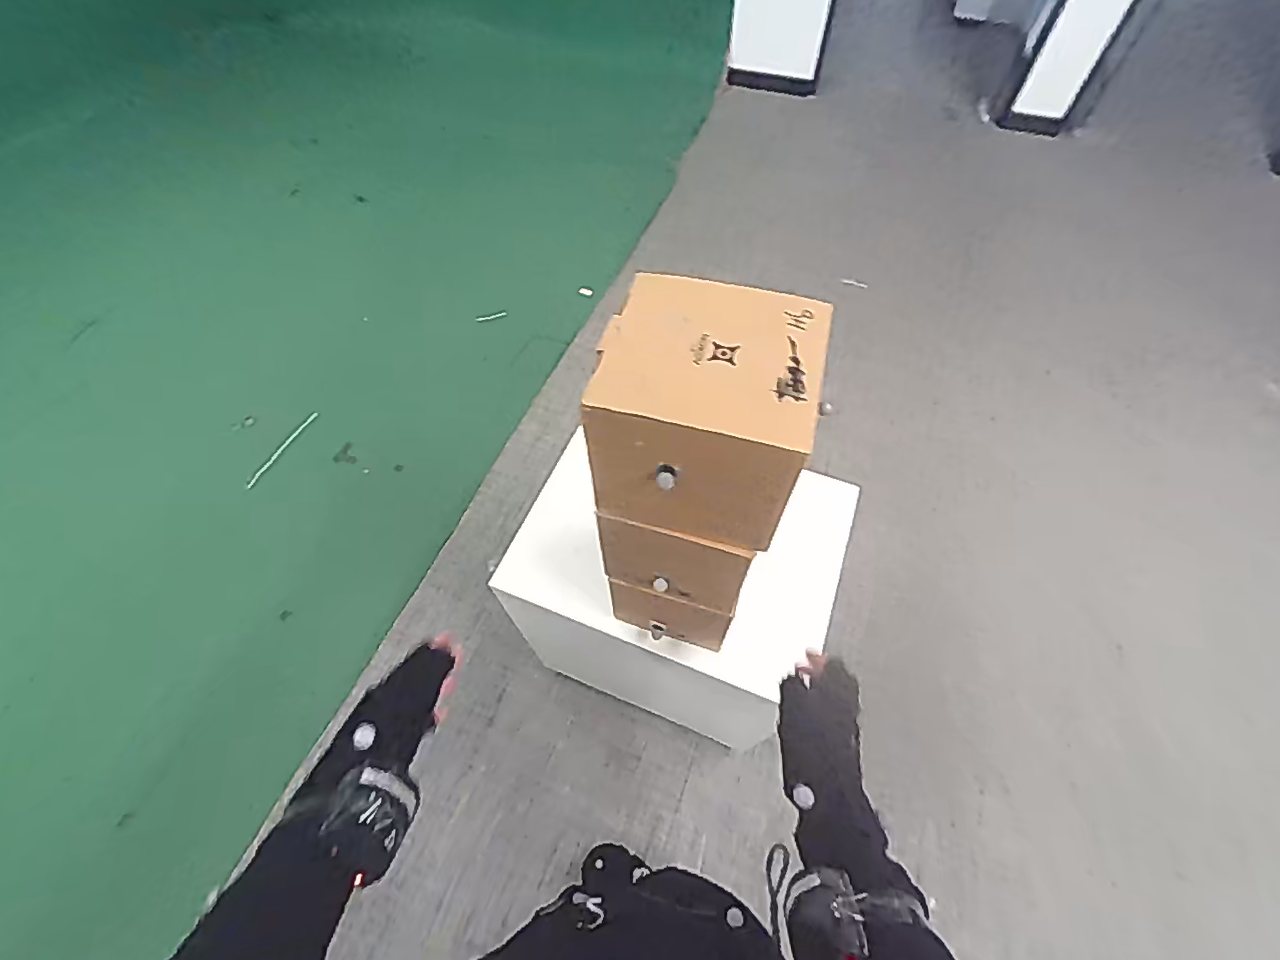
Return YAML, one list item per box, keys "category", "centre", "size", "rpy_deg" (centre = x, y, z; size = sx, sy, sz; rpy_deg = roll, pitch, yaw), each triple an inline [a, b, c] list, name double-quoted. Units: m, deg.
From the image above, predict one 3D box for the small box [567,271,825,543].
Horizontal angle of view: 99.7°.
- category: "small box"
  centre: [0.054, -0.060, 0.495]
  size: [0.179, 0.176, 0.168]
  rpy_deg: [13, 60, 11]

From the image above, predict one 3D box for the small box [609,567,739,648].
- category: "small box"
  centre: [0.065, 0.116, 0.771]
  size: [0.168, 0.176, 0.179]
  rpy_deg: [14, 61, 11]

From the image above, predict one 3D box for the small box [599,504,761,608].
- category: "small box"
  centre: [0.059, 0.025, 0.635]
  size: [0.168, 0.176, 0.179]
  rpy_deg: [13, 58, 10]
